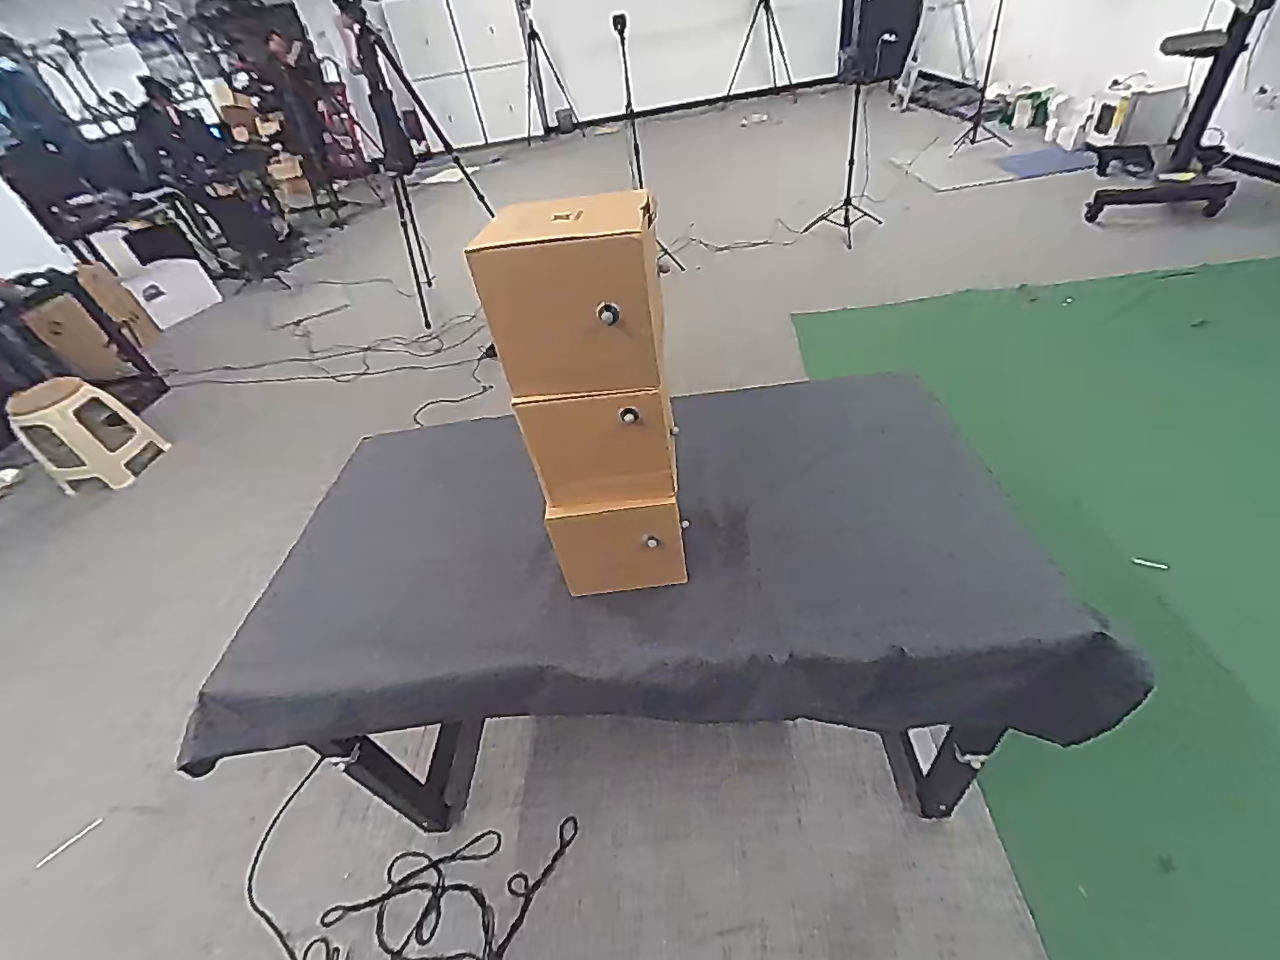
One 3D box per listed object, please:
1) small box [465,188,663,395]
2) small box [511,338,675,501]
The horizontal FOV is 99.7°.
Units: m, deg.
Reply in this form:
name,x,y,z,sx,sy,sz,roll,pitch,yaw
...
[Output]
name,x,y,z,sx,sy,sz,roll,pitch,yaw
small box,-0.067,-0.212,0.617,0.179,0.176,0.168,-4,39,8
small box,-0.051,-0.086,0.718,0.179,0.176,0.168,-5,41,5
